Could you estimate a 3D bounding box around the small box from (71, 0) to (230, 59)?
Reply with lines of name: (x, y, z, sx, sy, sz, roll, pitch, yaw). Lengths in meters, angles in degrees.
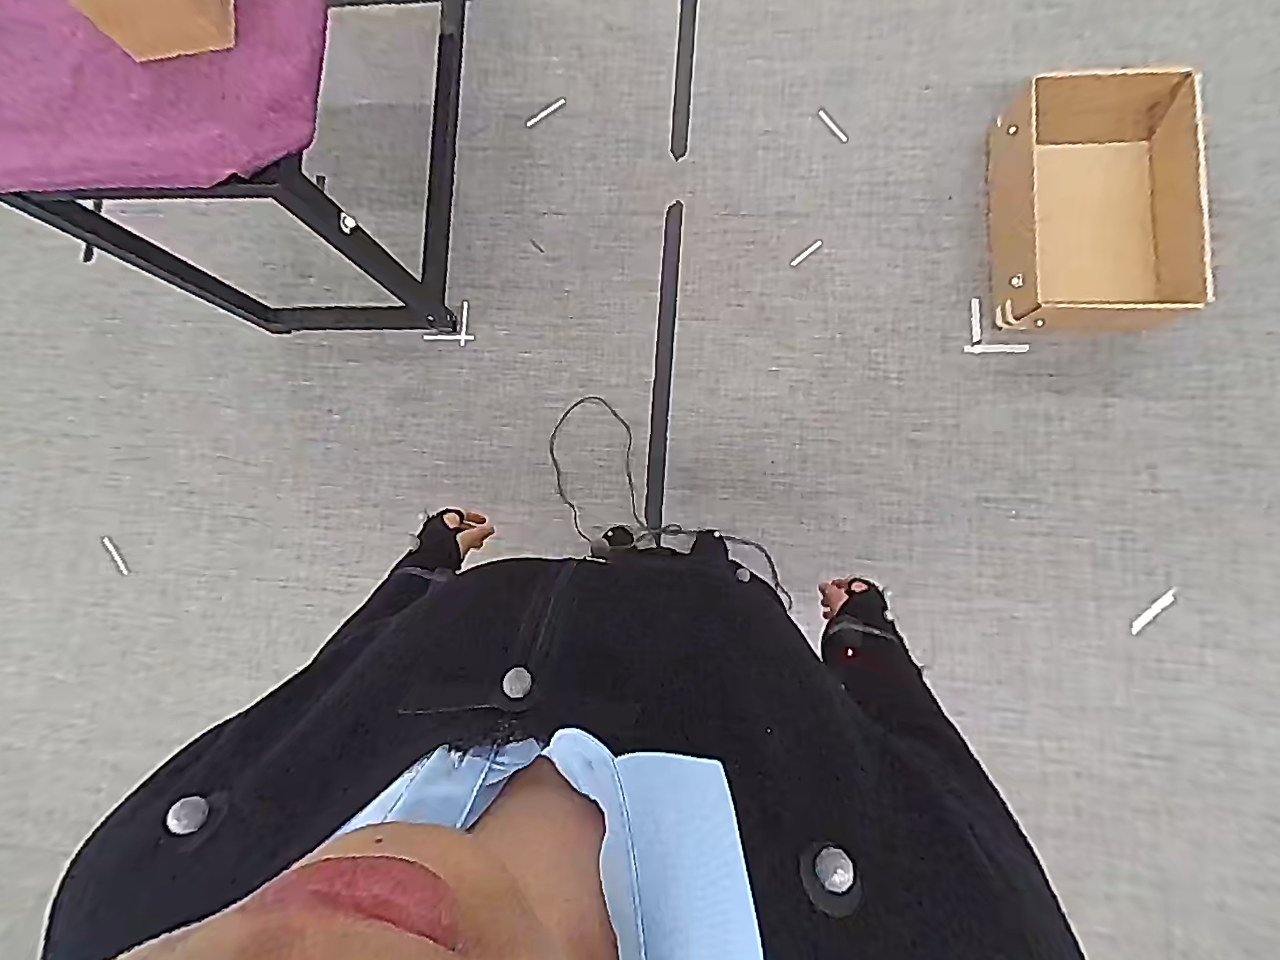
small box: (-0.775, -0.805, 0.839, 0.179, 0.176, 0.168, -6, 84, 4)
